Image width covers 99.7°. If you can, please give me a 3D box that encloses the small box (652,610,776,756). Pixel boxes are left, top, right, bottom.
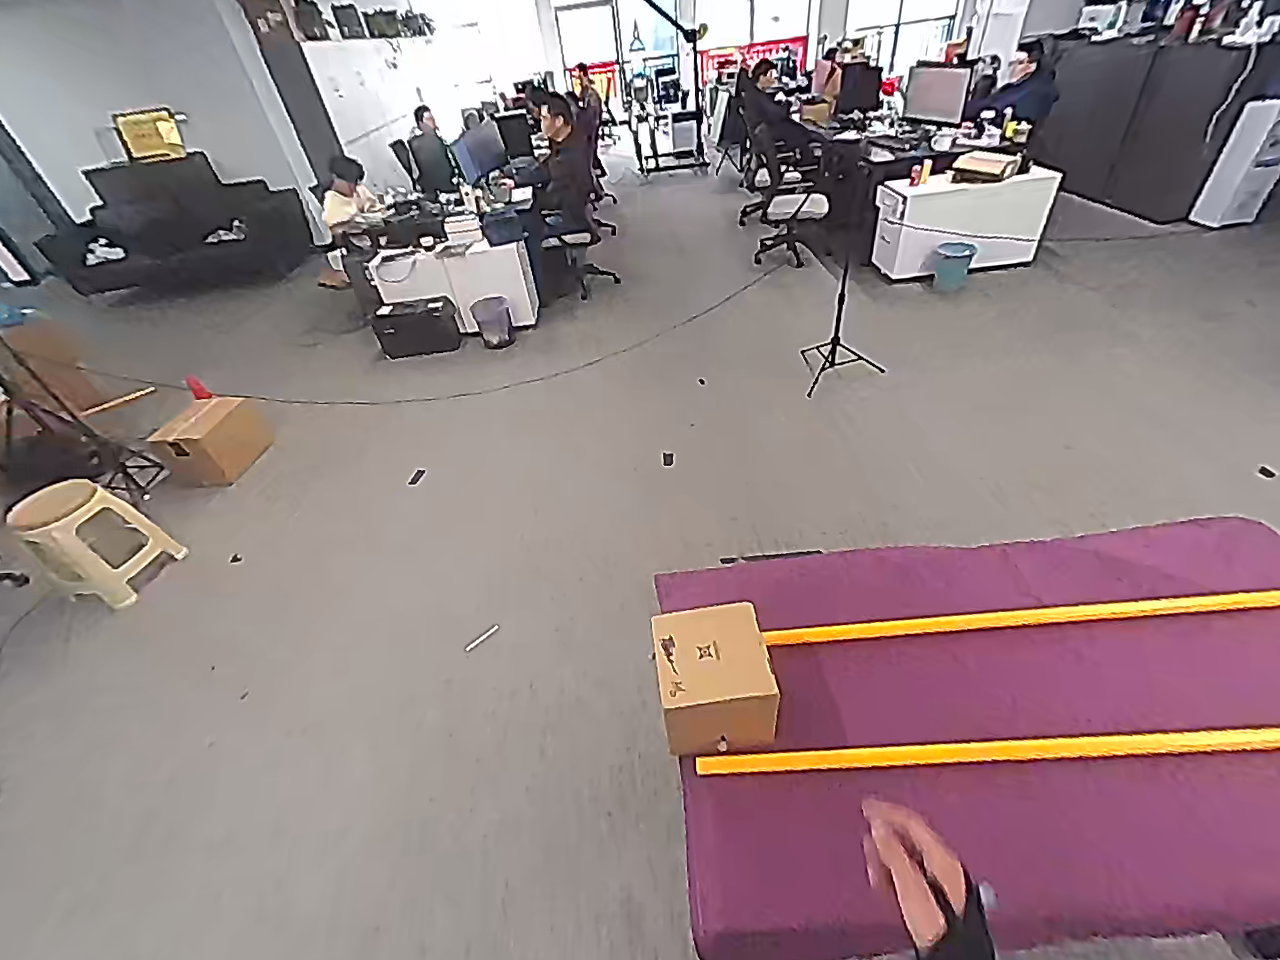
[{"bbox_3d":[0.117,0.343,0.913,0.179,0.176,0.168,-7,41,0],"label":"small box"}]
